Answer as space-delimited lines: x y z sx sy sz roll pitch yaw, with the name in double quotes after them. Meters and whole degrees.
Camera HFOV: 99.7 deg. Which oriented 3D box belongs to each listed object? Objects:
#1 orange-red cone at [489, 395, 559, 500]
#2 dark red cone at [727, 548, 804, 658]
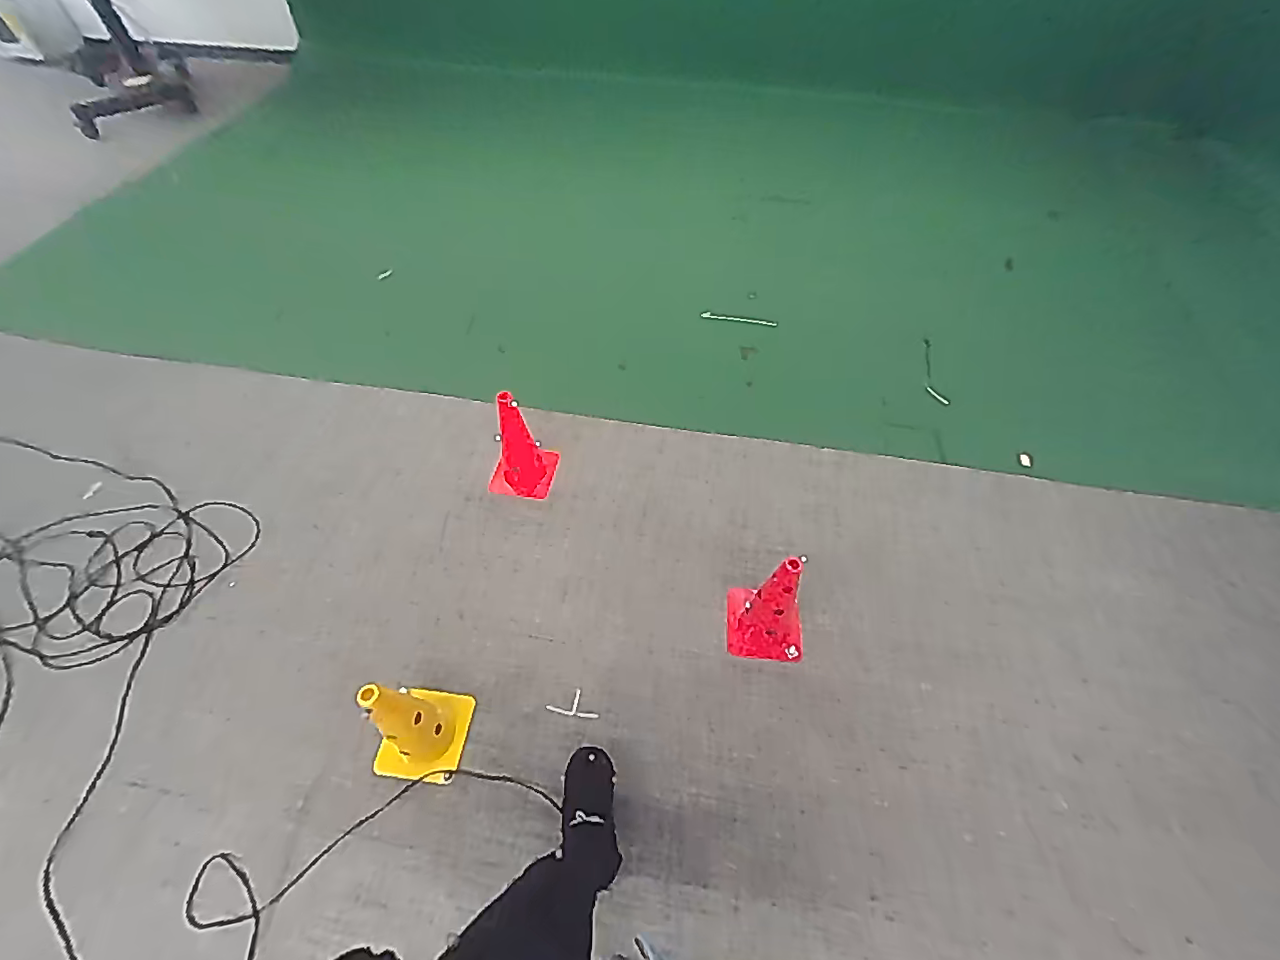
-0.387 -0.121 1.666 0.198 0.360 0.199 8 55 7 "orange-red cone"
0.339 0.283 1.341 0.202 0.394 0.201 4 52 3 "dark red cone"
